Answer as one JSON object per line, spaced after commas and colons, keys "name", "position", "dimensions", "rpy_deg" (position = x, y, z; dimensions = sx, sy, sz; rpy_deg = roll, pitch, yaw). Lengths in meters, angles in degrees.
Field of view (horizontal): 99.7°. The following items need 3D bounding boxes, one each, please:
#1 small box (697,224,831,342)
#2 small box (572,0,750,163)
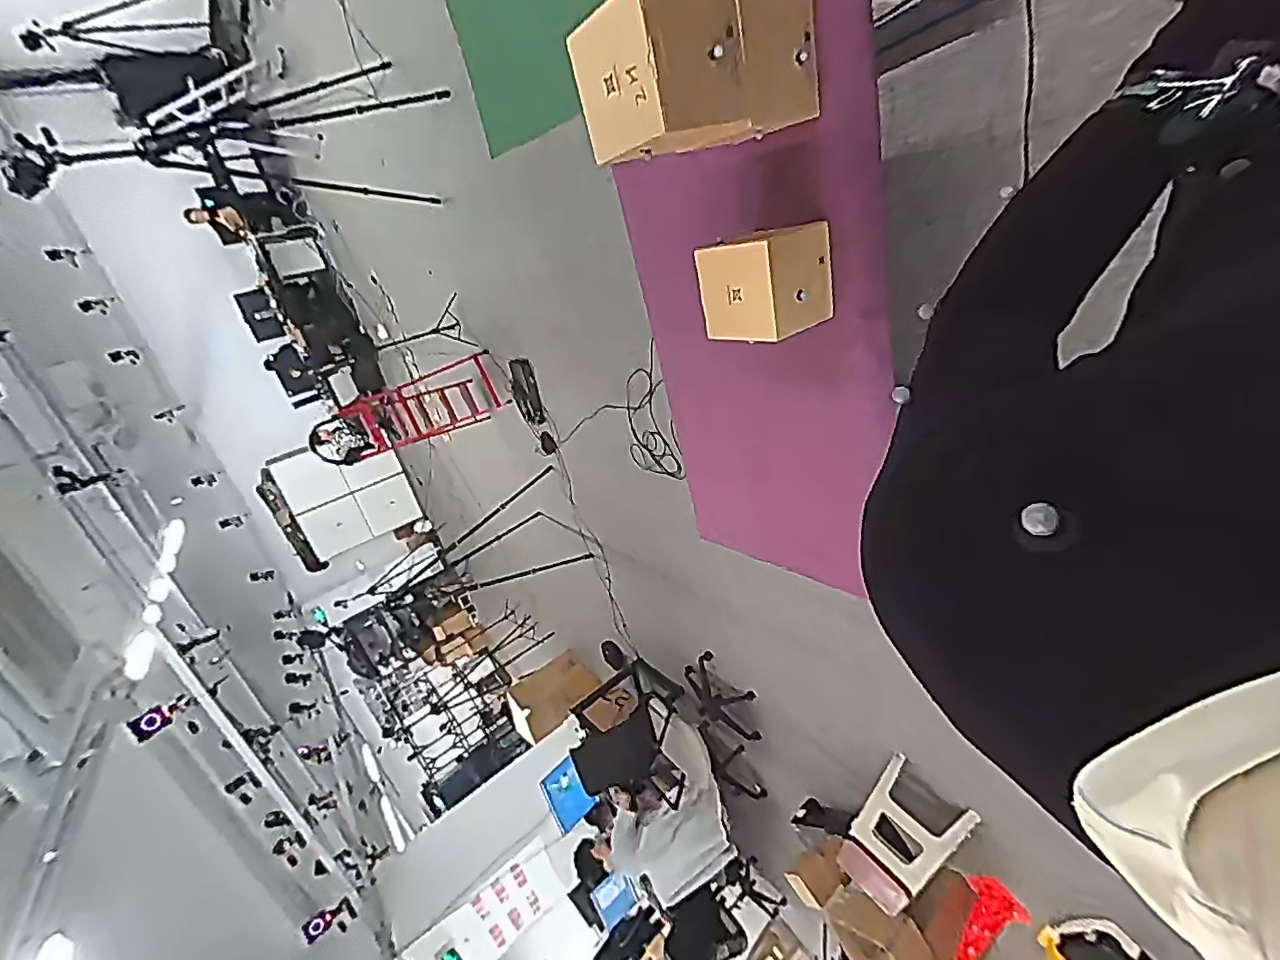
{"name": "small box", "position": [0.235, -0.362, 0.998], "dimensions": [0.179, 0.176, 0.168], "rpy_deg": [21, 132, 51]}
{"name": "small box", "position": [0.032, -0.581, 0.785], "dimensions": [0.179, 0.176, 0.168], "rpy_deg": [19, 131, 51]}
